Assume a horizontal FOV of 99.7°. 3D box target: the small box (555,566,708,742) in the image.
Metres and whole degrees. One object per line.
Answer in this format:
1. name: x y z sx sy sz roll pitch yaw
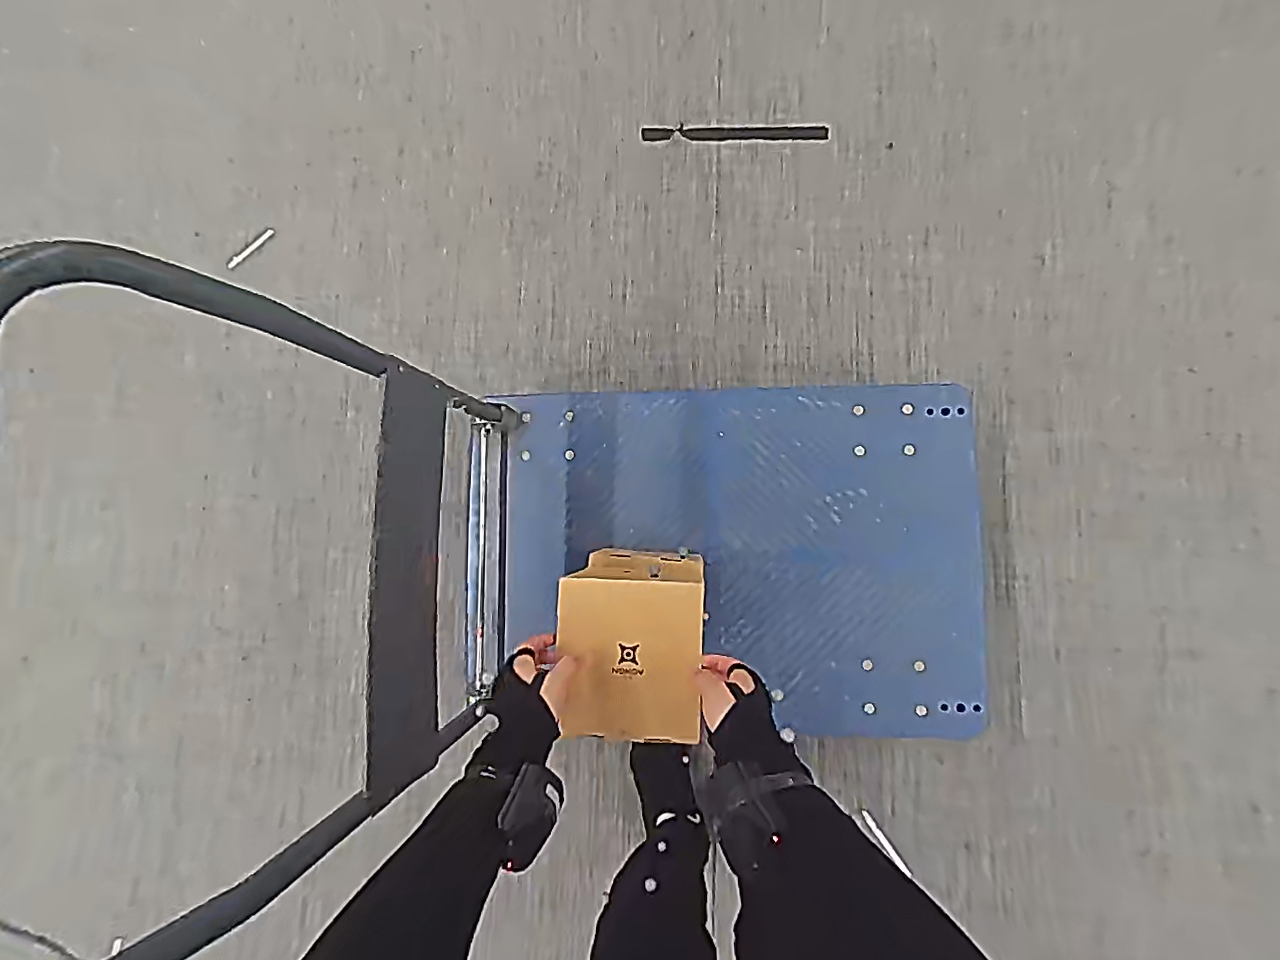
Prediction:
1. small box: -0.003 0.202 0.676 0.168 0.176 0.179 1 86 5
